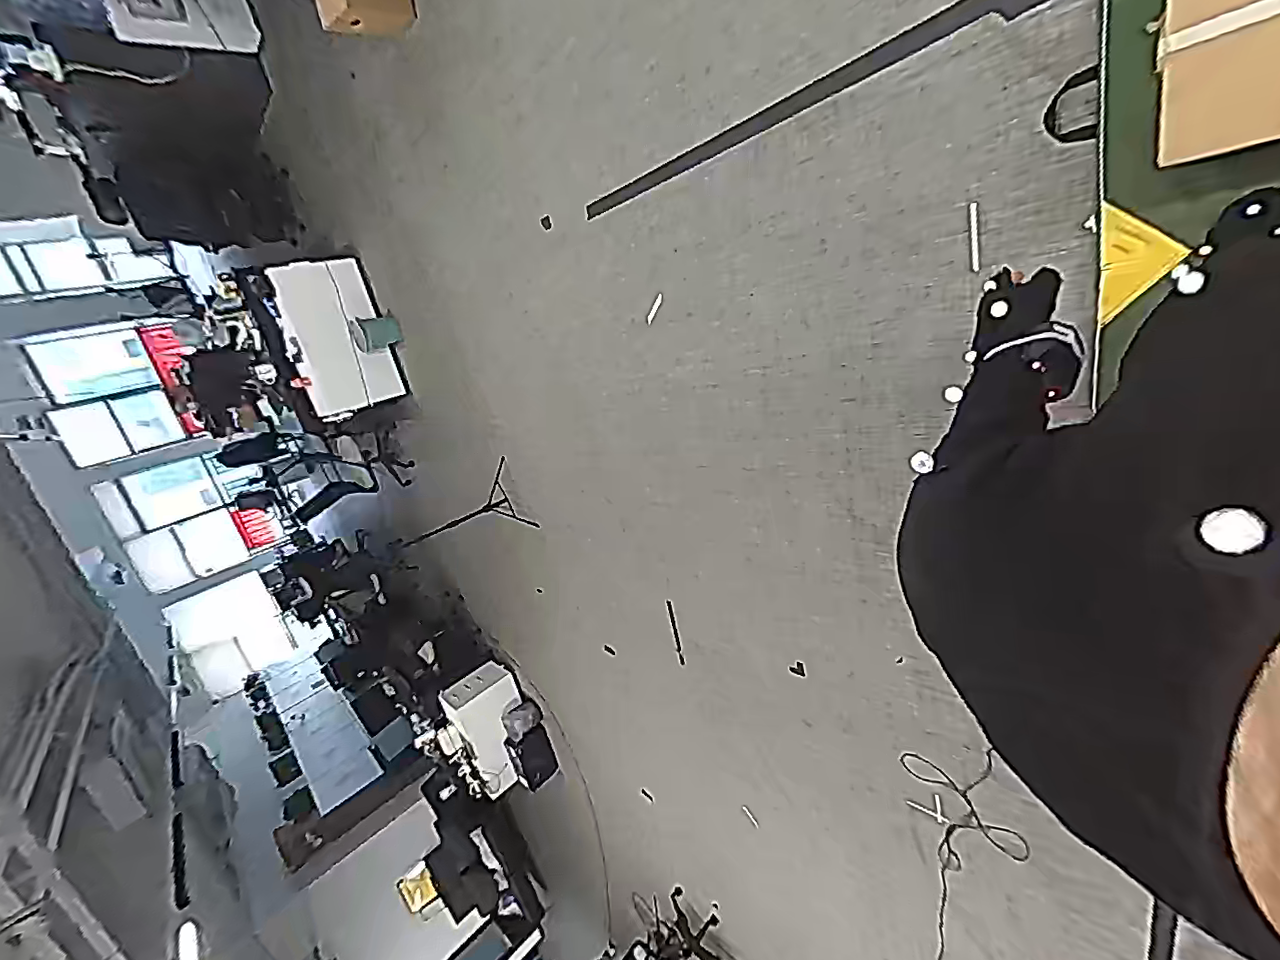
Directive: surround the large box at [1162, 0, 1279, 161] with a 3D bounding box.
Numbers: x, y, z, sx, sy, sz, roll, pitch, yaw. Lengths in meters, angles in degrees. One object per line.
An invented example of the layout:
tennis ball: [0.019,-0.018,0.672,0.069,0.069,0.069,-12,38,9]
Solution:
large box: [0.966,-0.651,0.698,0.408,0.320,0.320,6,116,46]
